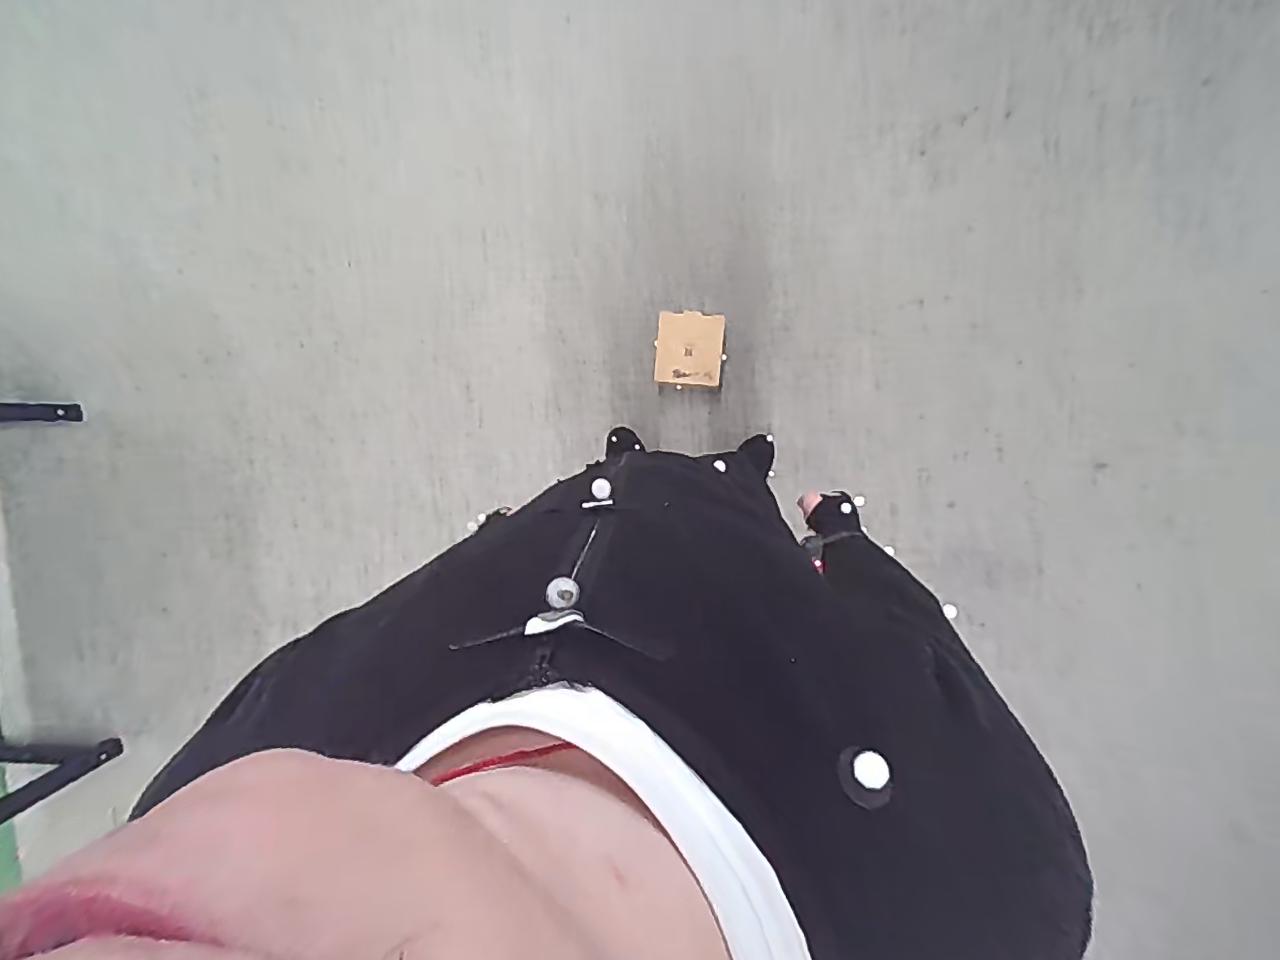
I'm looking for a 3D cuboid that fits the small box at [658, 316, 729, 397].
[{"bbox_3d":[0.139,-0.323,1.435,0.168,0.176,0.179,6,95,5],"label":"small box"}]
